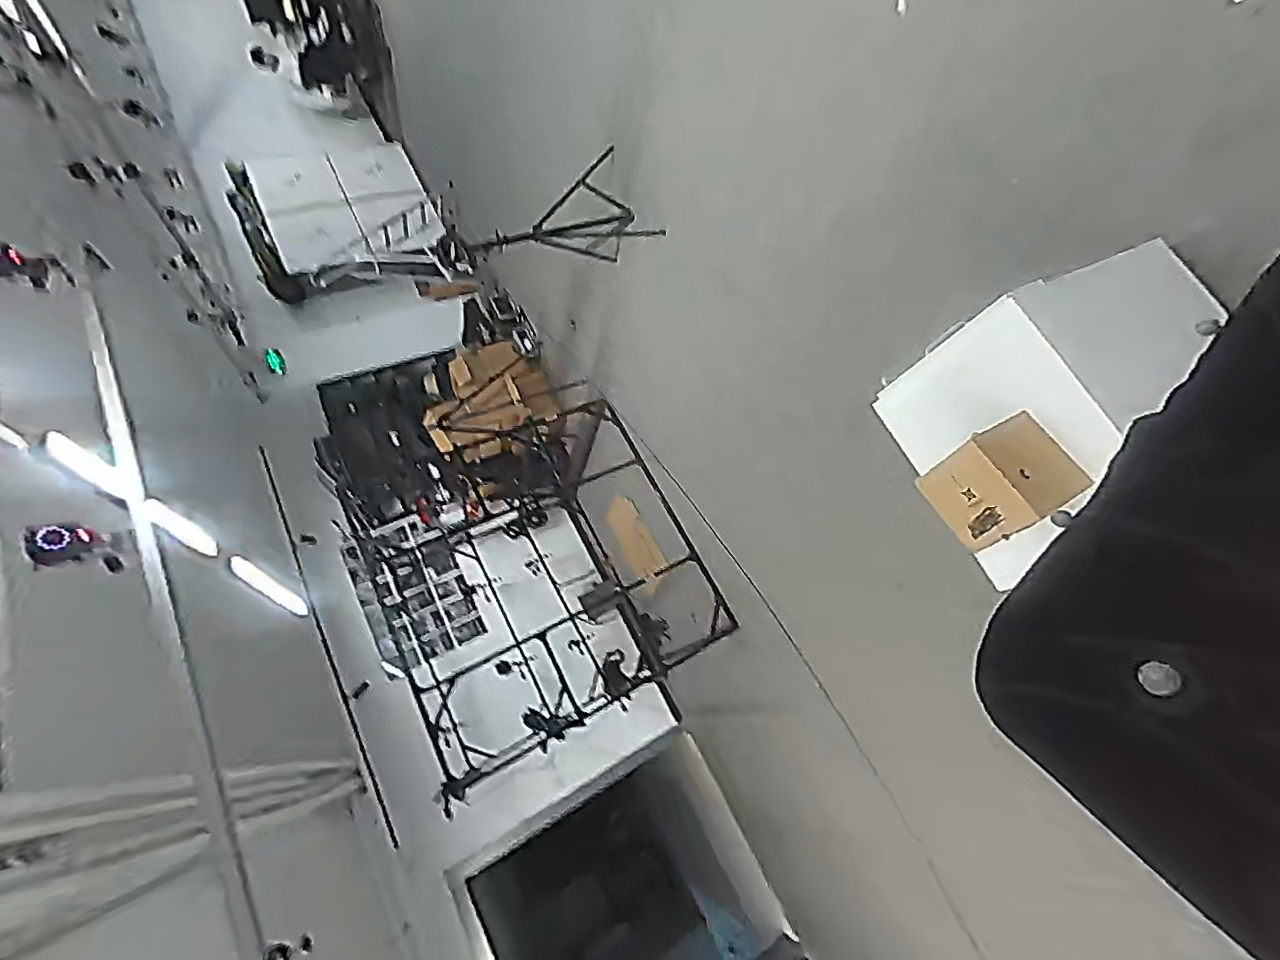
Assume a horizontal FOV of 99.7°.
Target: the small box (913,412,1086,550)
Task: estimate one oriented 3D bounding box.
[{"bbox_3d":[0.676,0.001,1.023,0.179,0.176,0.168,59,156,20],"label":"small box"}]
